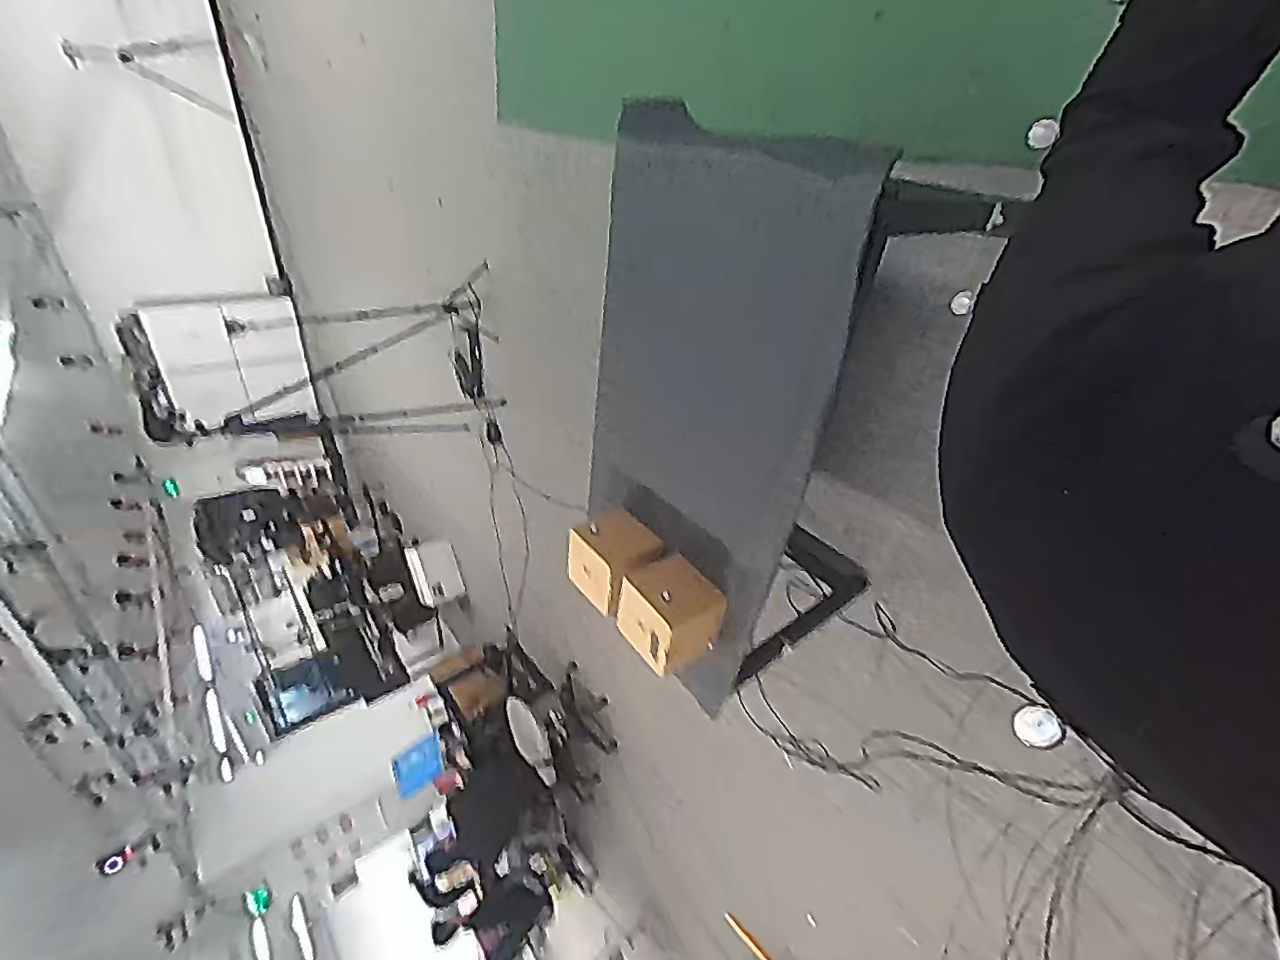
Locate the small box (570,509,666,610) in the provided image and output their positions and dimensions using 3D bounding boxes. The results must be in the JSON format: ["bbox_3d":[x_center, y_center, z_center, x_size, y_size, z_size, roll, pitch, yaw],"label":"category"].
[{"bbox_3d":[-0.059,0.193,1.381,0.179,0.176,0.168,37,134,37],"label":"small box"}]

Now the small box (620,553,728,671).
[{"bbox_3d":[0.078,0.294,1.247,0.179,0.176,0.168,40,135,38],"label":"small box"}]
